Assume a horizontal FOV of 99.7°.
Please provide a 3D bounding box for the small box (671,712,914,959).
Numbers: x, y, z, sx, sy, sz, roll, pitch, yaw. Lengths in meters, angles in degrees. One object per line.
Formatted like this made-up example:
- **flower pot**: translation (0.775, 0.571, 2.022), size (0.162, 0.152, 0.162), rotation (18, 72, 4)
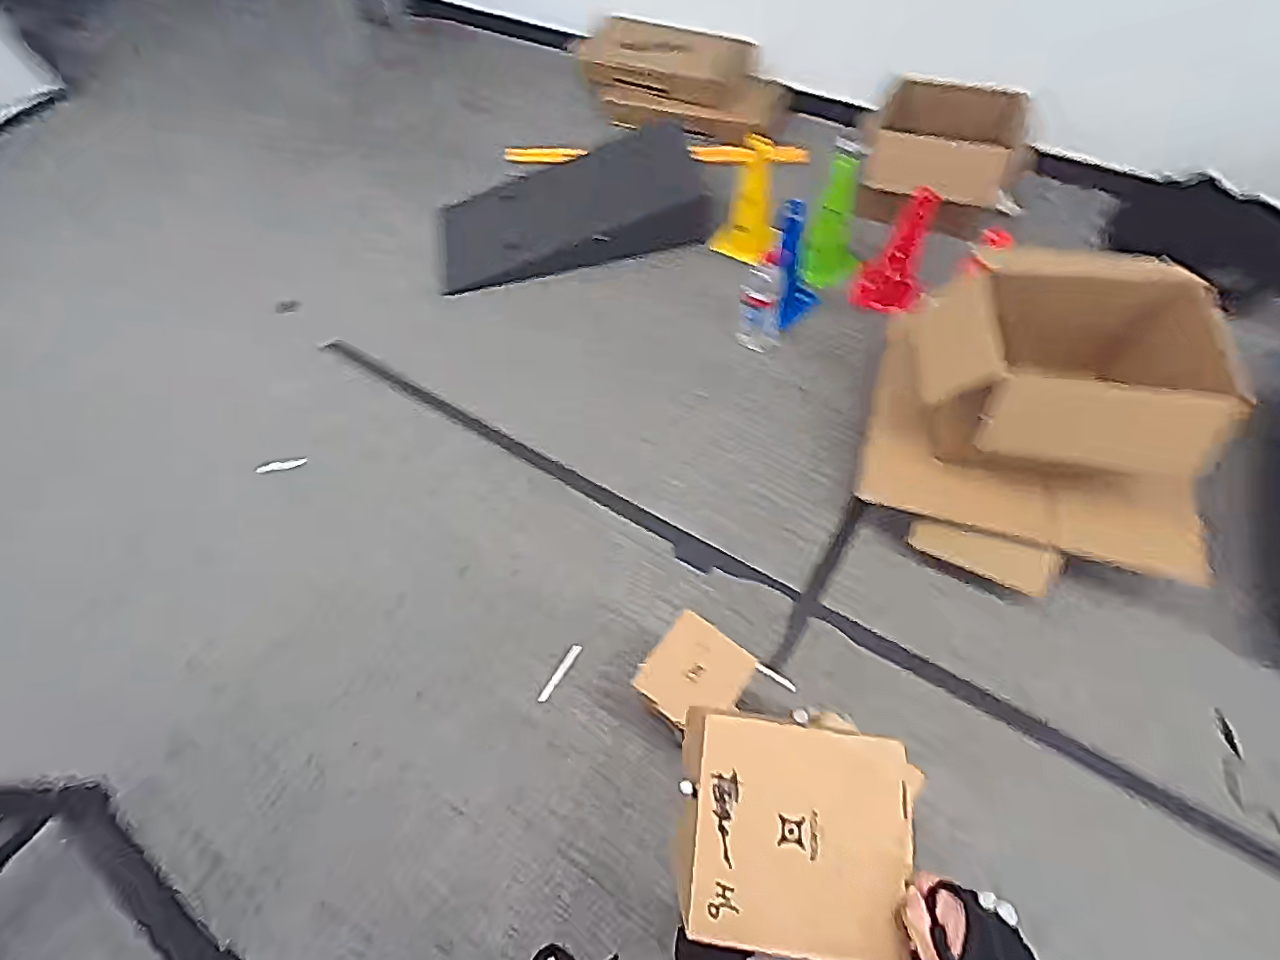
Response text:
- **small box**: translation (0.131, 0.320, 0.512), size (0.179, 0.176, 0.168), rotation (8, 70, 1)

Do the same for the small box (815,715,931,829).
- **small box**: translation (0.357, 0.539, 0.939), size (0.179, 0.176, 0.168), rotation (32, 70, 18)

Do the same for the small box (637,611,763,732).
- **small box**: translation (0.113, 0.388, 1.040), size (0.168, 0.176, 0.179), rotation (34, 69, 18)
